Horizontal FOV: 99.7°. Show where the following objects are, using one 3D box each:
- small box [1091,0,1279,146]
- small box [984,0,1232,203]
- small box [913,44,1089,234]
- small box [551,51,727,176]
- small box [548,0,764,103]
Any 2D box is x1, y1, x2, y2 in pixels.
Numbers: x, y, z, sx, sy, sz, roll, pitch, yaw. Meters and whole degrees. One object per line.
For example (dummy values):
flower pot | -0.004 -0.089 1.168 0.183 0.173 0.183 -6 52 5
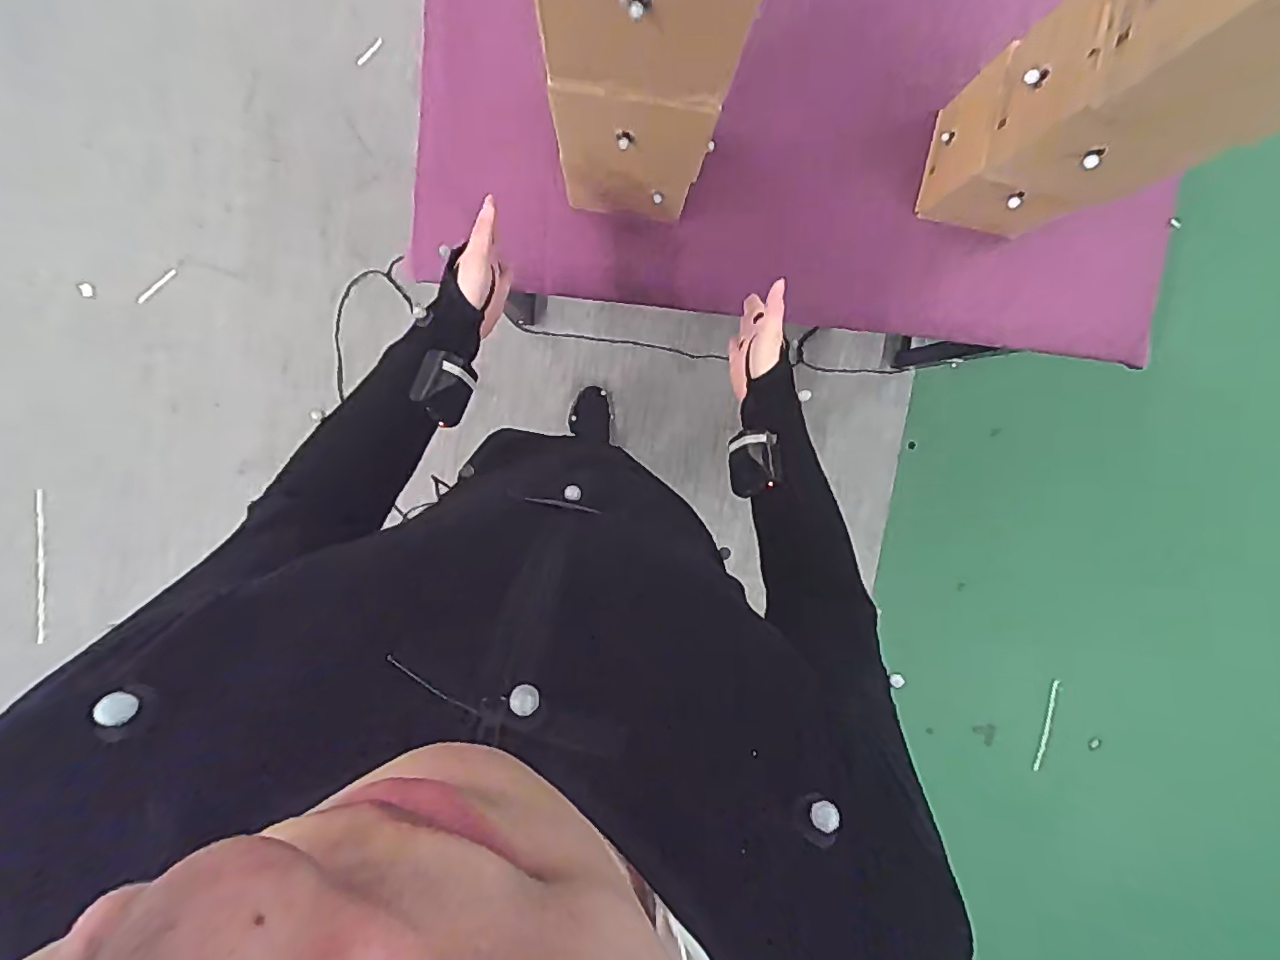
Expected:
small box | 0.566 -0.429 0.475 0.179 0.176 0.168 11 96 -3
small box | 0.554 -0.453 0.638 0.179 0.176 0.168 11 97 -3
small box | 0.547 -0.484 0.800 0.179 0.176 0.168 11 96 -4
small box | 0.003 -0.466 0.604 0.179 0.176 0.168 6 96 -4
small box | 0.018 -0.449 0.442 0.179 0.176 0.168 7 97 -5
